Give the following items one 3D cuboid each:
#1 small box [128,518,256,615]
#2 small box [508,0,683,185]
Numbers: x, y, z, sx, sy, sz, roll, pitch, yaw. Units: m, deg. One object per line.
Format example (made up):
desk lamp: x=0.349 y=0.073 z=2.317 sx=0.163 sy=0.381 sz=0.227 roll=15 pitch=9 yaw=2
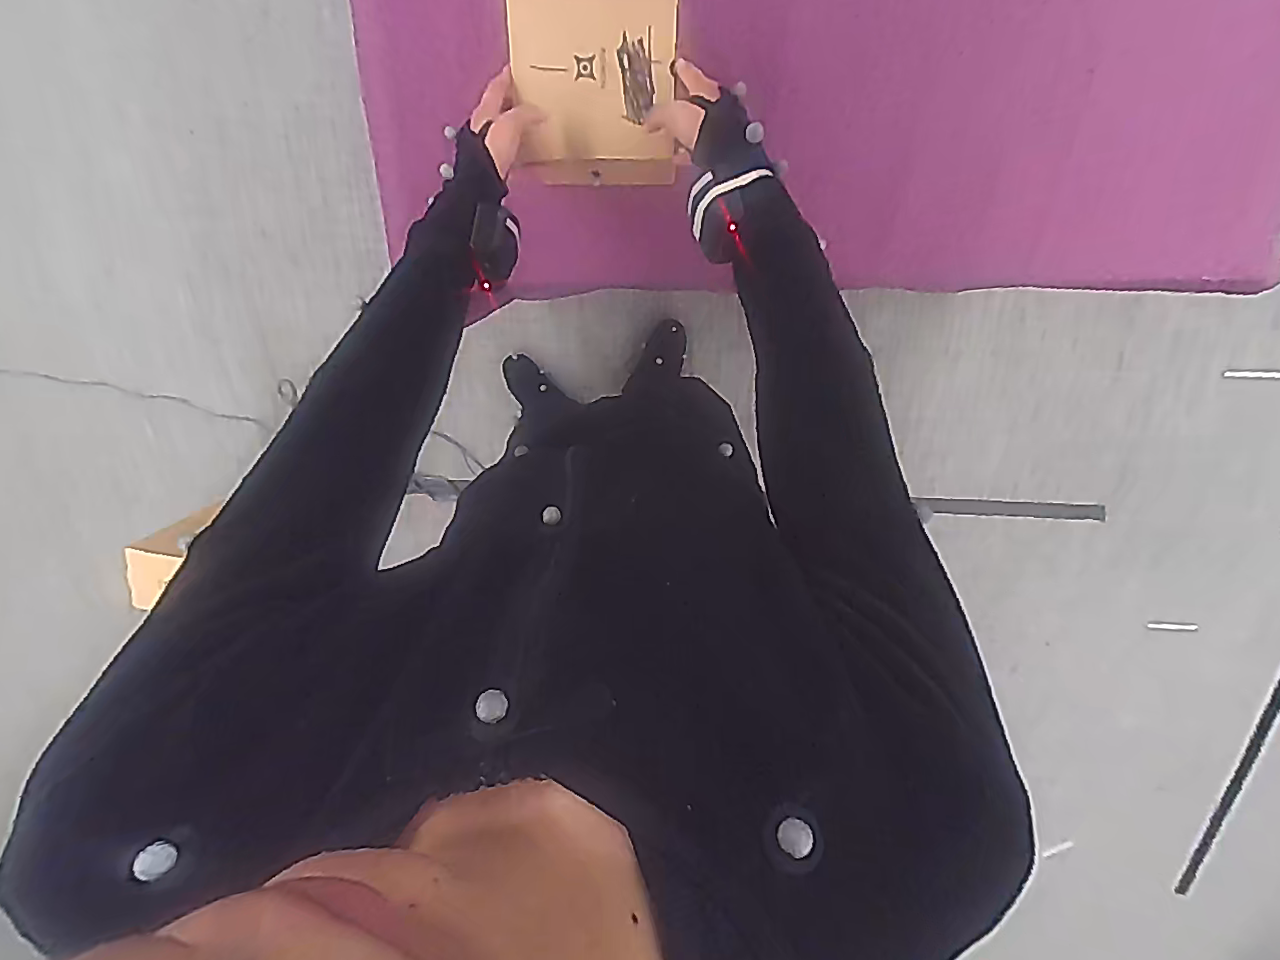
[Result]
small box: x=-1.110 y=0.209 z=1.353 sx=0.179 sy=0.176 sz=0.168 roll=11 pitch=111 yaw=0
small box: x=-0.043 y=-0.452 z=0.631 sx=0.179 sy=0.176 sz=0.168 roll=2 pitch=110 yaw=3
